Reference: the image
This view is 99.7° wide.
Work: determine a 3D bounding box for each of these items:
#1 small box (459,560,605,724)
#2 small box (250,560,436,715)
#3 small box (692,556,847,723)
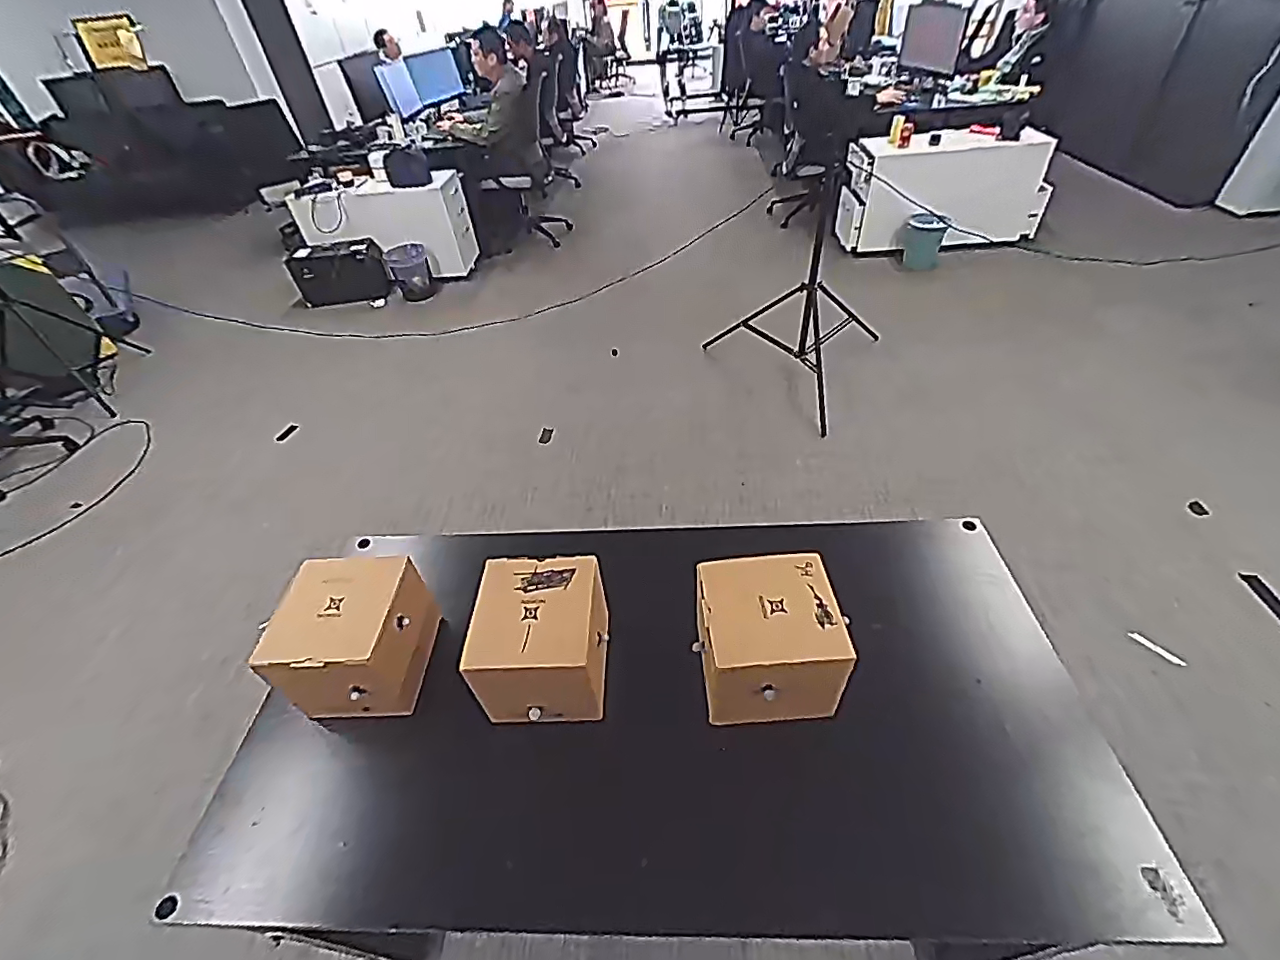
[{"bbox_3d":[-0.144,0.238,0.798,0.168,0.176,0.179,-3,44,3],"label":"small box"},{"bbox_3d":[-0.431,0.243,0.824,0.168,0.176,0.179,-2,43,1],"label":"small box"},{"bbox_3d":[0.173,0.231,0.773,0.179,0.176,0.168,-6,43,1],"label":"small box"}]
